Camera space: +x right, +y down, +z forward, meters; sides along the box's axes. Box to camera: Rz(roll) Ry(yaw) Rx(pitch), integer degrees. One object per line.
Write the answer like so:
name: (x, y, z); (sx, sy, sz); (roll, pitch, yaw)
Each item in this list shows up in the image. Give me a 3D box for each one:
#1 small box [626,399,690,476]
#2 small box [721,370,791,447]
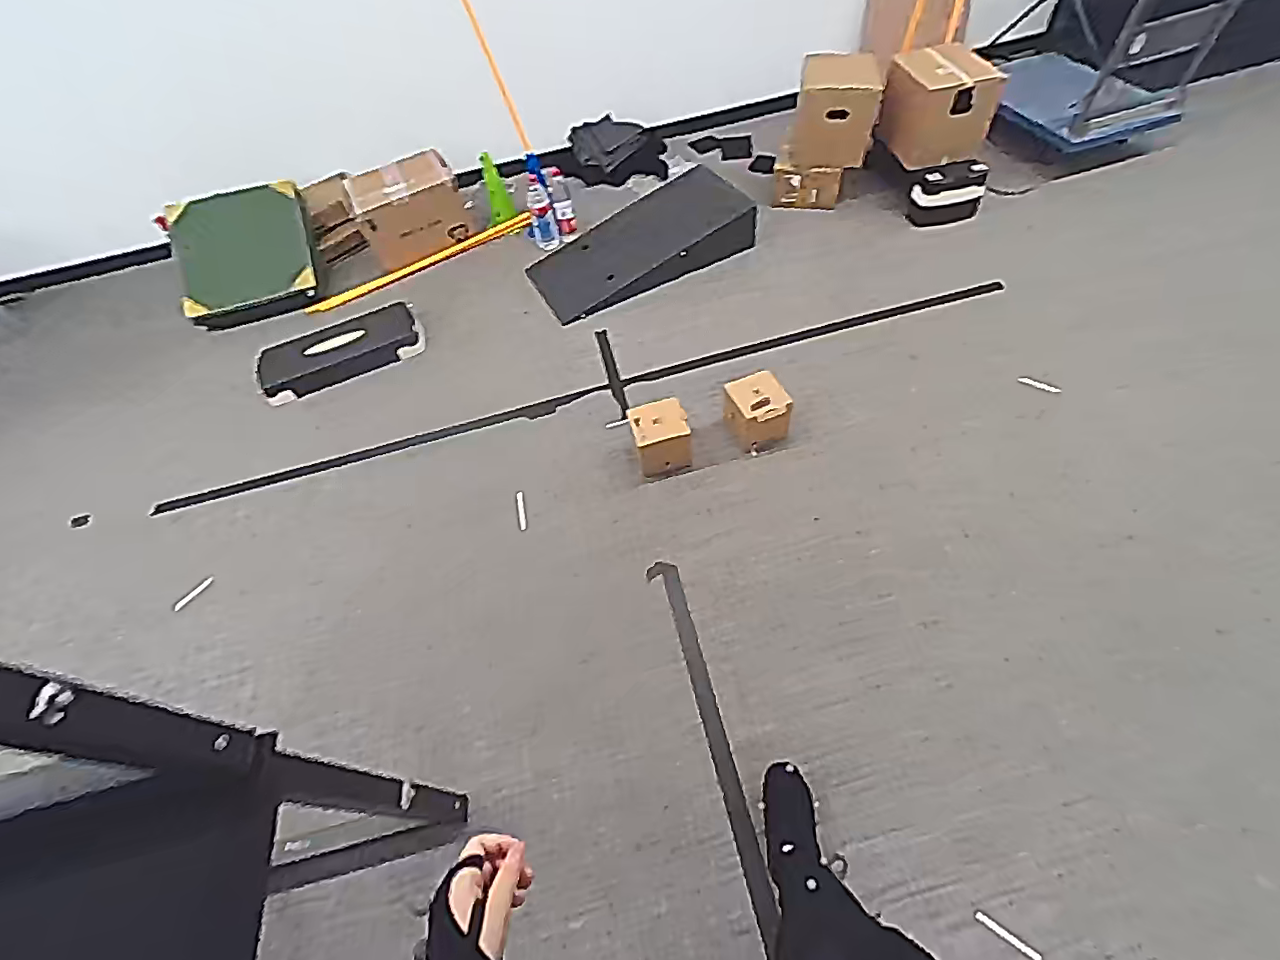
small box: (0.060, -0.138, 1.780); (0.179, 0.176, 0.168); (-14, 54, -3)
small box: (0.382, -0.230, 1.803); (0.168, 0.176, 0.179); (-20, 54, -7)
